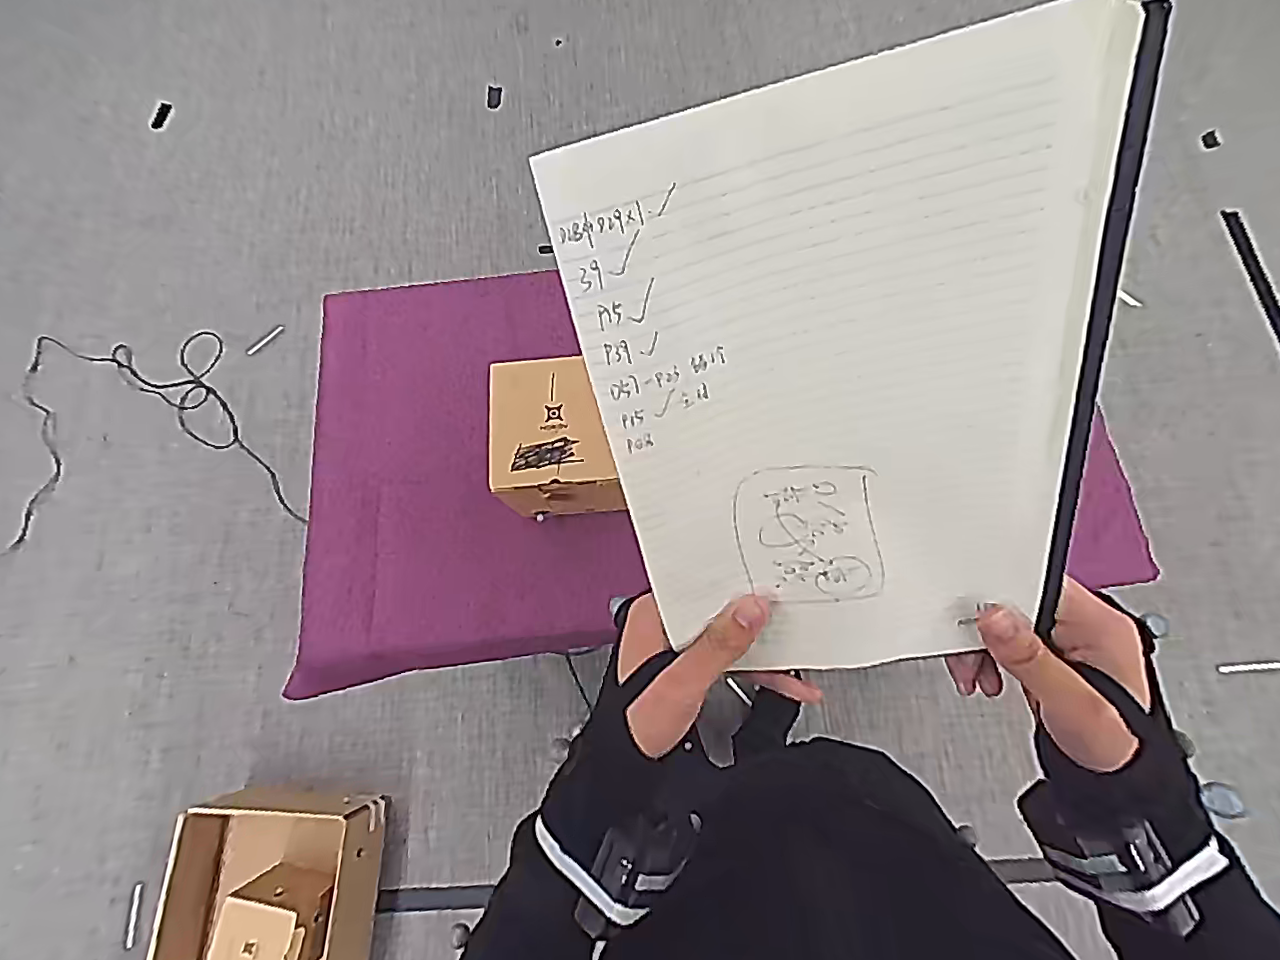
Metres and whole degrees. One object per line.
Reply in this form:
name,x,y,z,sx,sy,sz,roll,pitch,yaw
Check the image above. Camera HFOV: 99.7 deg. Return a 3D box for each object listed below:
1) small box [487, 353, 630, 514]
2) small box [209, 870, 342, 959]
small box,-0.106,-0.053,0.753,0.168,0.176,0.179,-5,74,2
small box,-0.810,1.010,1.209,0.179,0.176,0.168,8,76,5
